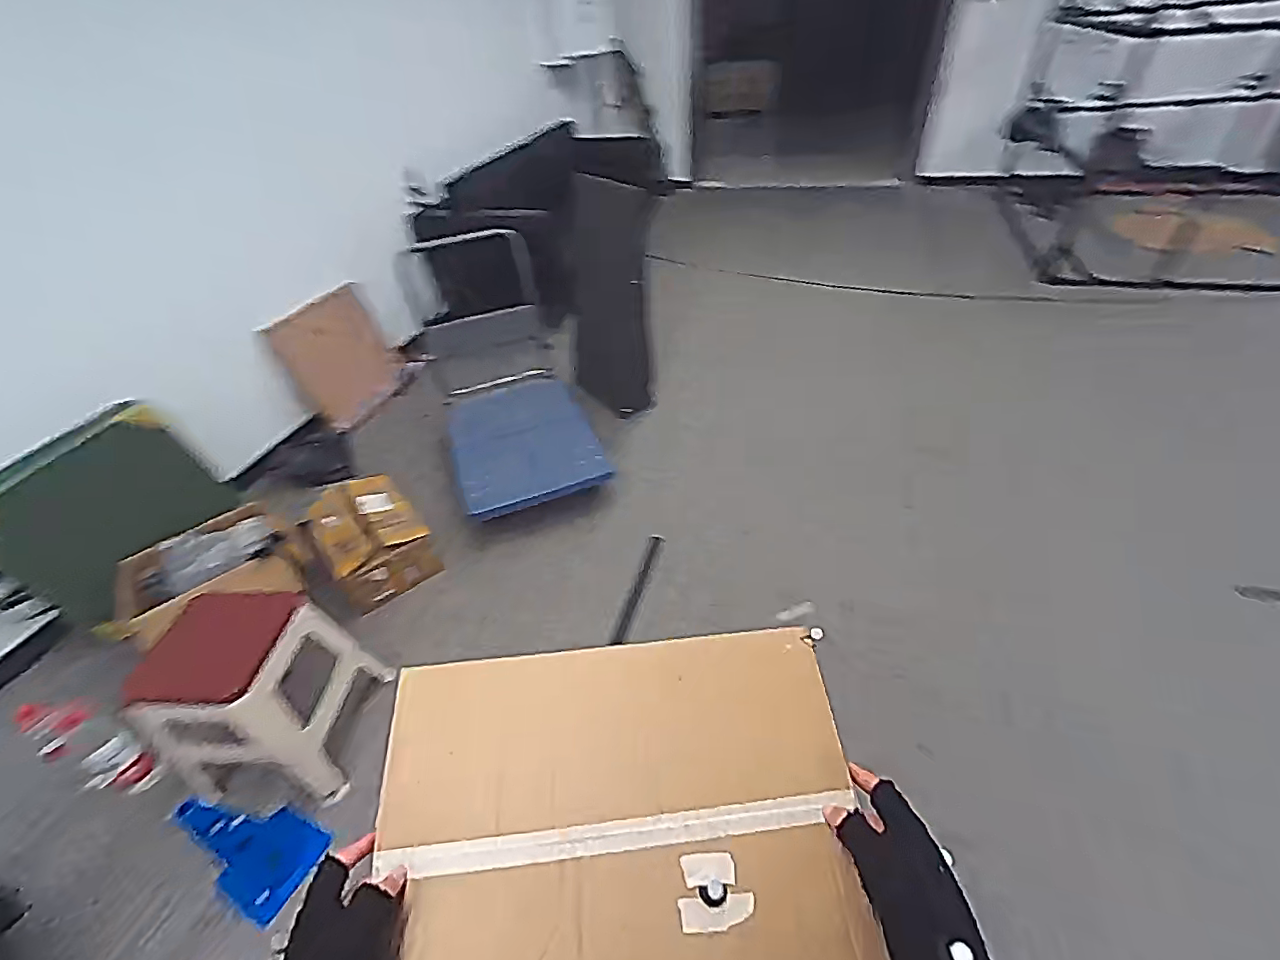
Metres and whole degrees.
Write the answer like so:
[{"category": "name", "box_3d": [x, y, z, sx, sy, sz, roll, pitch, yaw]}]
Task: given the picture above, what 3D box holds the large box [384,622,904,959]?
[{"category": "large box", "box_3d": [-0.009, 0.373, 0.588, 0.408, 0.320, 0.320, -4, 57, -3]}]
